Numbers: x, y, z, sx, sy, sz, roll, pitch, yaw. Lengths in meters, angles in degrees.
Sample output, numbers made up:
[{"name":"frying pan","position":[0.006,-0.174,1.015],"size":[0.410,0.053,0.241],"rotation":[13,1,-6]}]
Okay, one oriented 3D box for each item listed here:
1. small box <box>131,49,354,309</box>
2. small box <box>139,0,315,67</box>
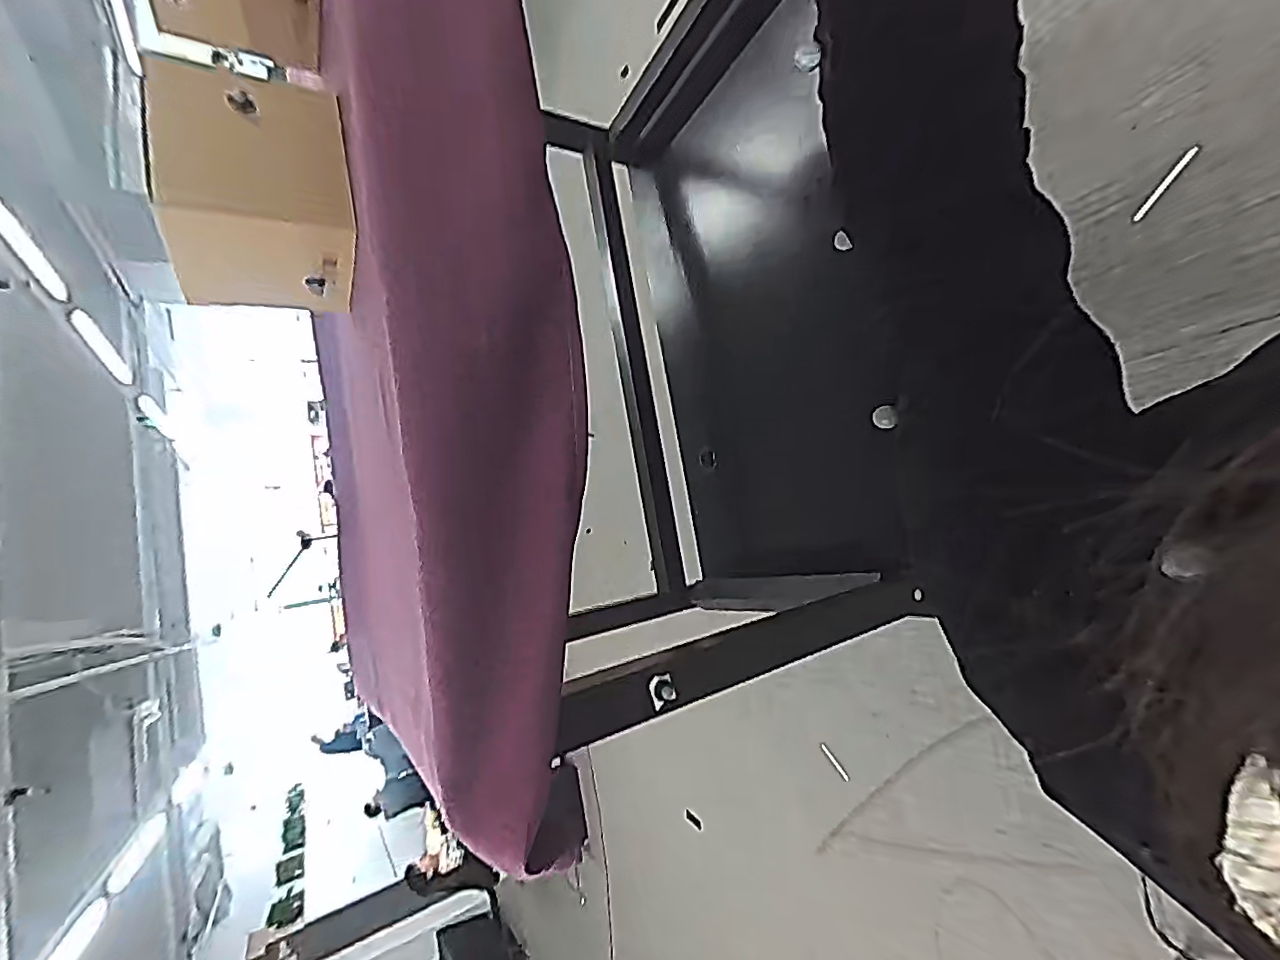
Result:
[{"name":"small box","position":[-0.425,-0.308,0.596],"size":[0.168,0.176,0.179],"rotation":[-30,71,56]},{"name":"small box","position":[-0.475,-0.627,0.615],"size":[0.168,0.176,0.179],"rotation":[-20,79,58]}]
